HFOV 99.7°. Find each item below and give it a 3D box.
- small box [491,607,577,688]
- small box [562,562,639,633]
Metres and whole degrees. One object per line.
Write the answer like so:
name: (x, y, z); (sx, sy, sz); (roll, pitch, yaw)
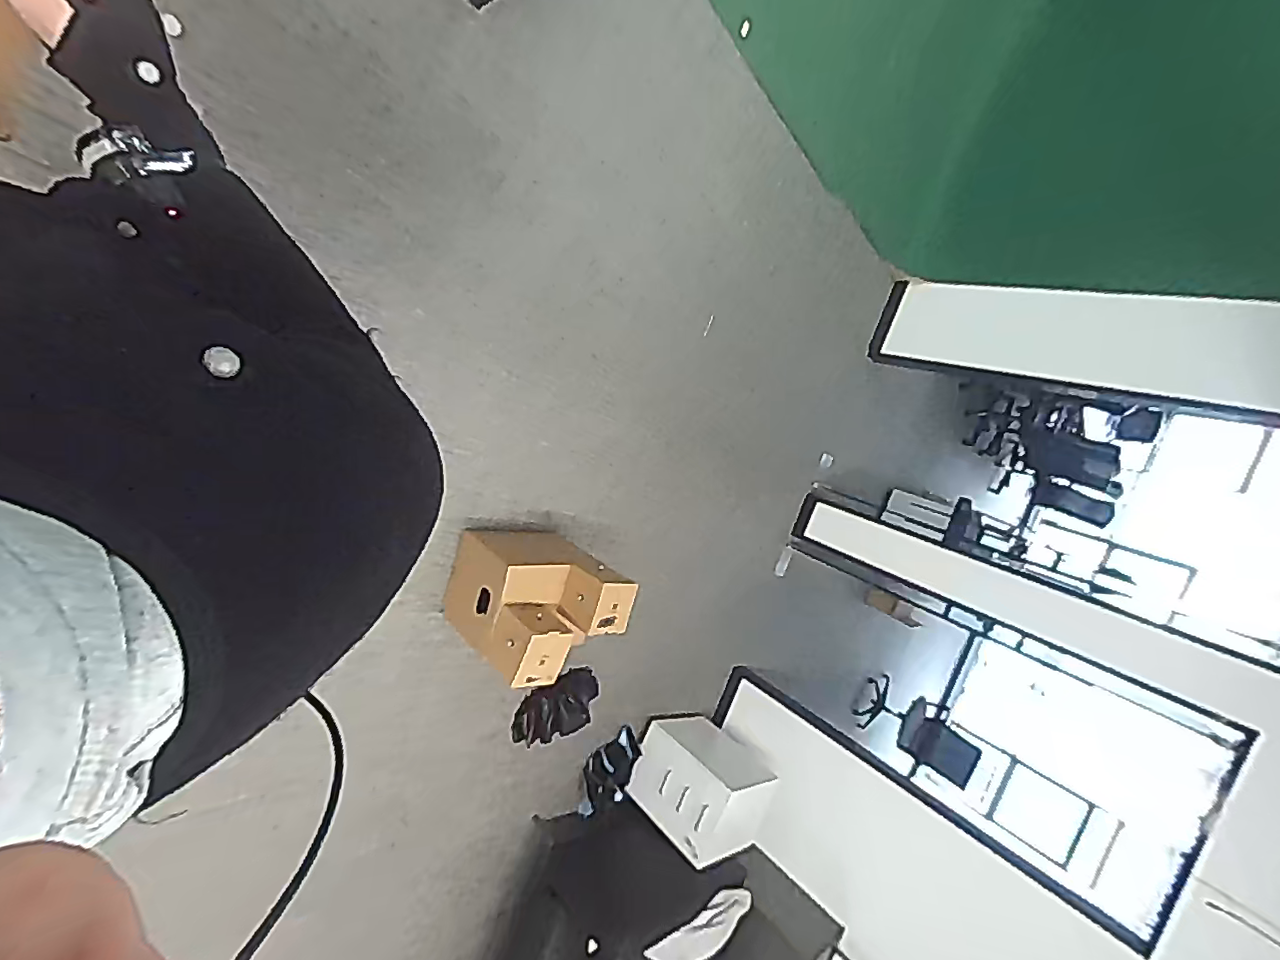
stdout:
small box: (-0.325, 0.497, 1.632); (0.168, 0.176, 0.179); (16, 96, -48)
small box: (-0.135, 0.384, 1.782); (0.168, 0.176, 0.179); (12, 95, -48)
